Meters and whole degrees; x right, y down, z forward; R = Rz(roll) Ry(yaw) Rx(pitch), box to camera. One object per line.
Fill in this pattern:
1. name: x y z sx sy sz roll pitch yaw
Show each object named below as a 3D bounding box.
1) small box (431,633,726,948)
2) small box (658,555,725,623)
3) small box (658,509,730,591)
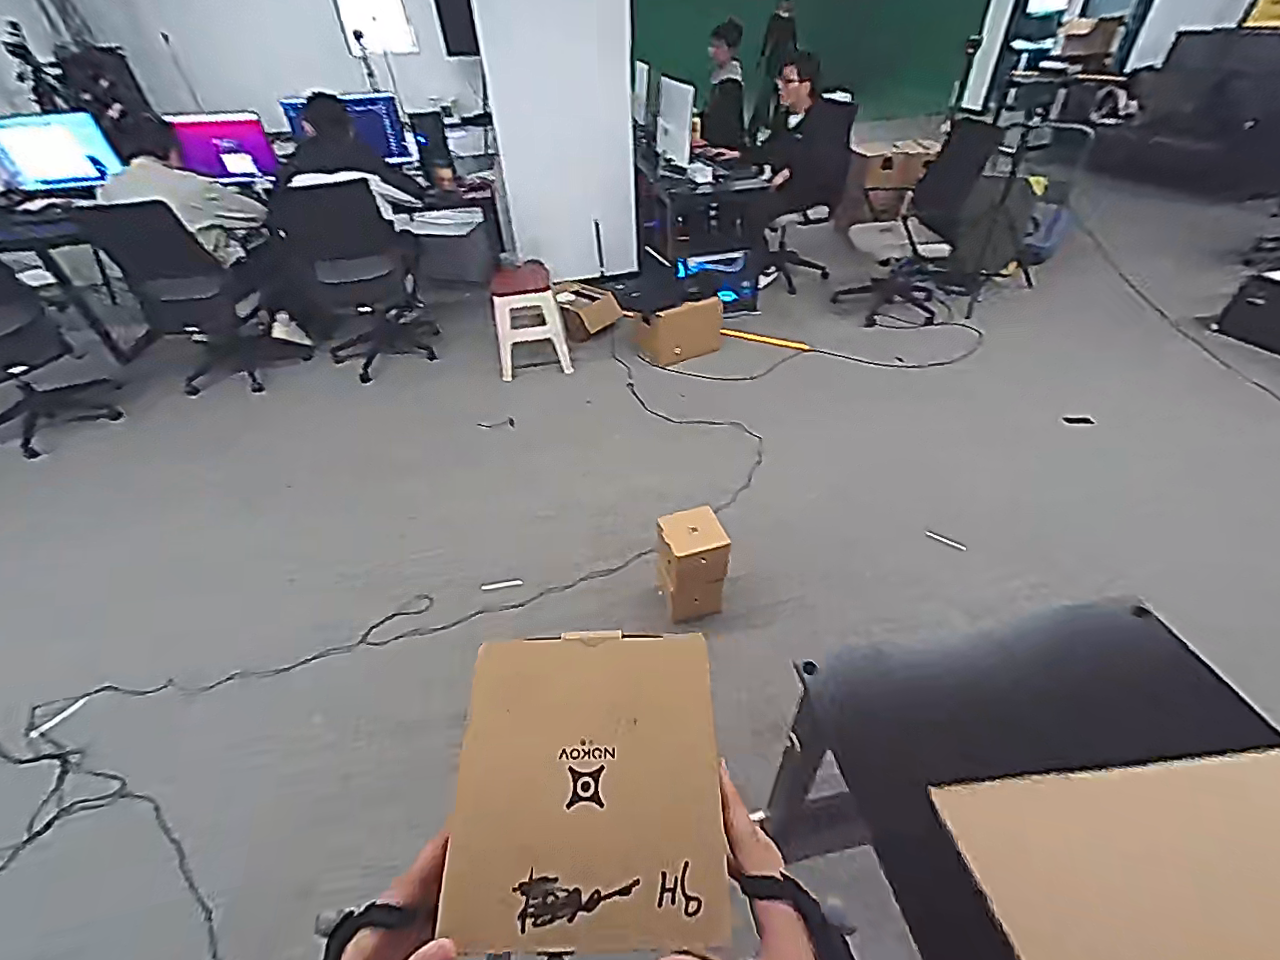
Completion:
1. small box: -0.034 0.231 0.408 0.168 0.176 0.179 -3 53 1
2. small box: 0.164 0.343 1.776 0.179 0.176 0.168 -12 42 -9
3. small box: 0.163 0.218 1.672 0.179 0.176 0.168 -13 43 -13
